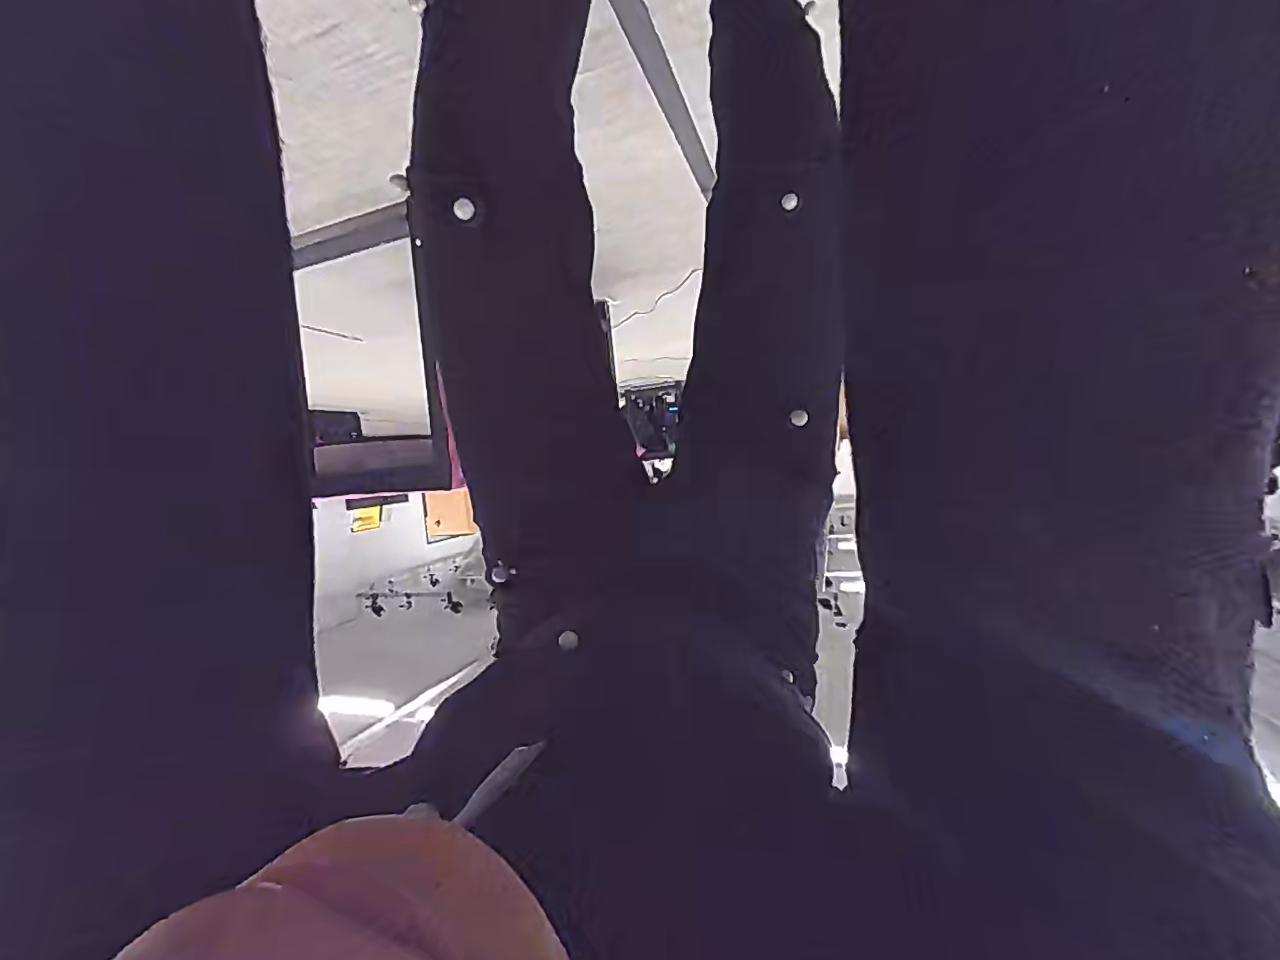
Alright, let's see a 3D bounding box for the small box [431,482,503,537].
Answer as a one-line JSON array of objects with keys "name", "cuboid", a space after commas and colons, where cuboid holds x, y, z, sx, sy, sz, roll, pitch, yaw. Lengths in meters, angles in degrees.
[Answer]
[{"name": "small box", "cuboid": [-0.594, 0.098, 1.849, 0.179, 0.176, 0.168, -5, -177, 25]}]
